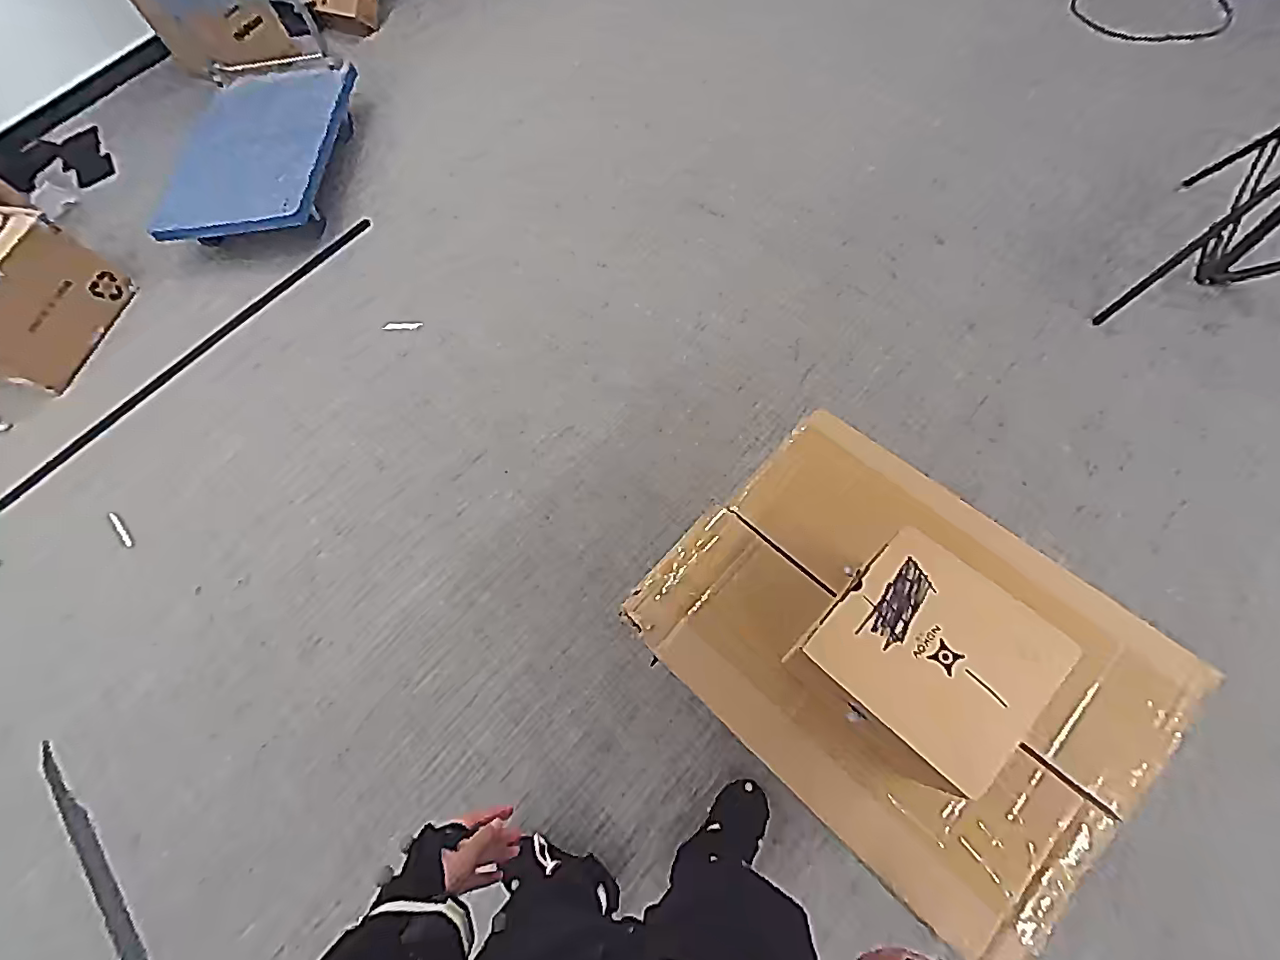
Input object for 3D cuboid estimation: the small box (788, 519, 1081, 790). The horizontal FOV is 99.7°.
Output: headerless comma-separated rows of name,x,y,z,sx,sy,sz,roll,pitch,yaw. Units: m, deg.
small box,0.271,0.175,0.549,0.179,0.176,0.168,40,78,21
